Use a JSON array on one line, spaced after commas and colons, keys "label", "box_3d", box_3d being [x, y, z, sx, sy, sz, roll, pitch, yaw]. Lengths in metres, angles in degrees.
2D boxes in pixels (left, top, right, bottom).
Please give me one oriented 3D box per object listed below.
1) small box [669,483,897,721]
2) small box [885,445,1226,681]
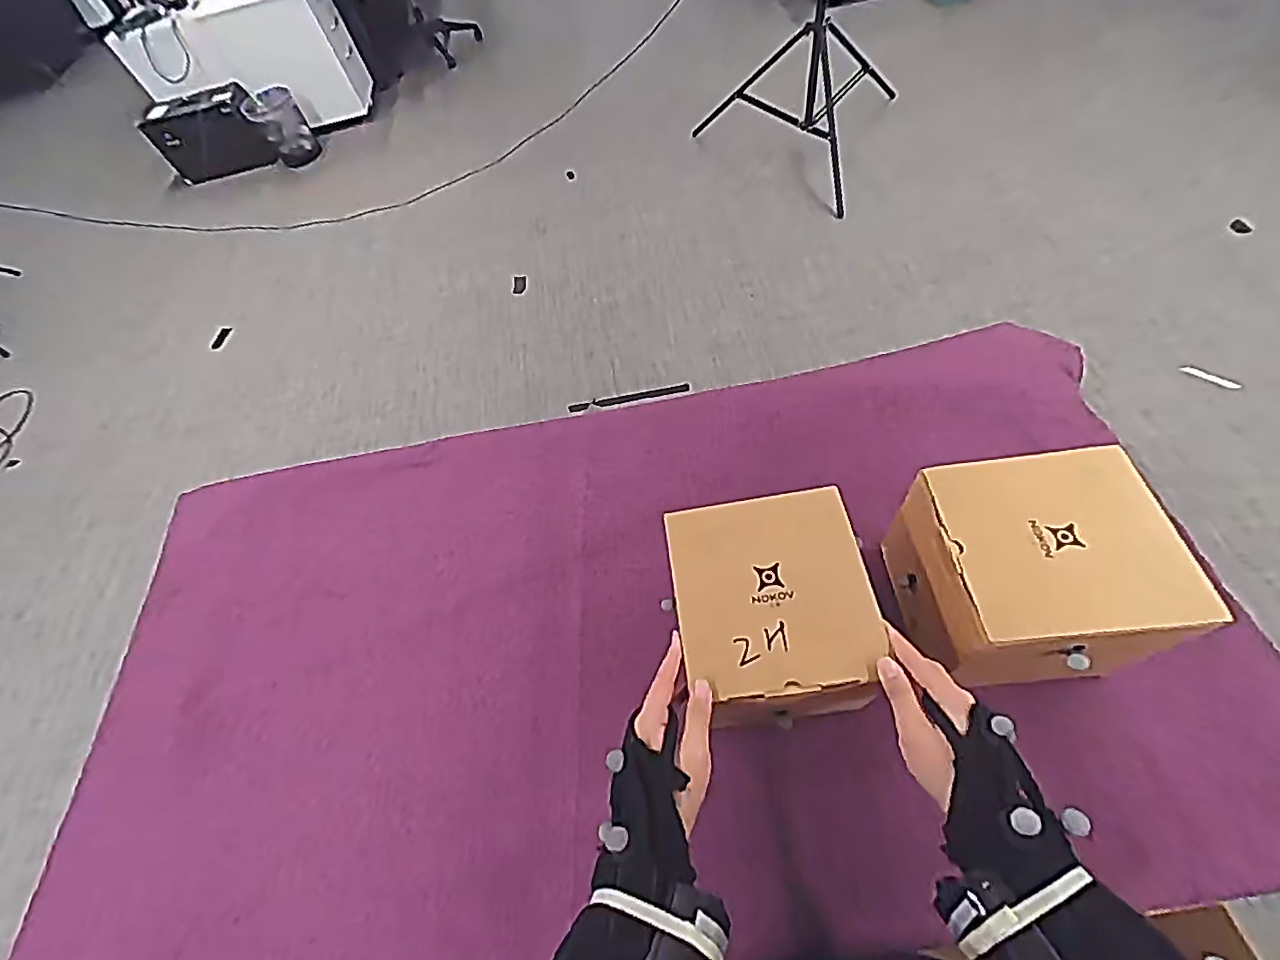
[{"label": "small box", "box_3d": [0.125, 0.128, 0.536, 0.168, 0.176, 0.179, -10, 59, 6]}, {"label": "small box", "box_3d": [0.363, 0.088, 0.521, 0.179, 0.176, 0.168, -8, 57, 6]}]
